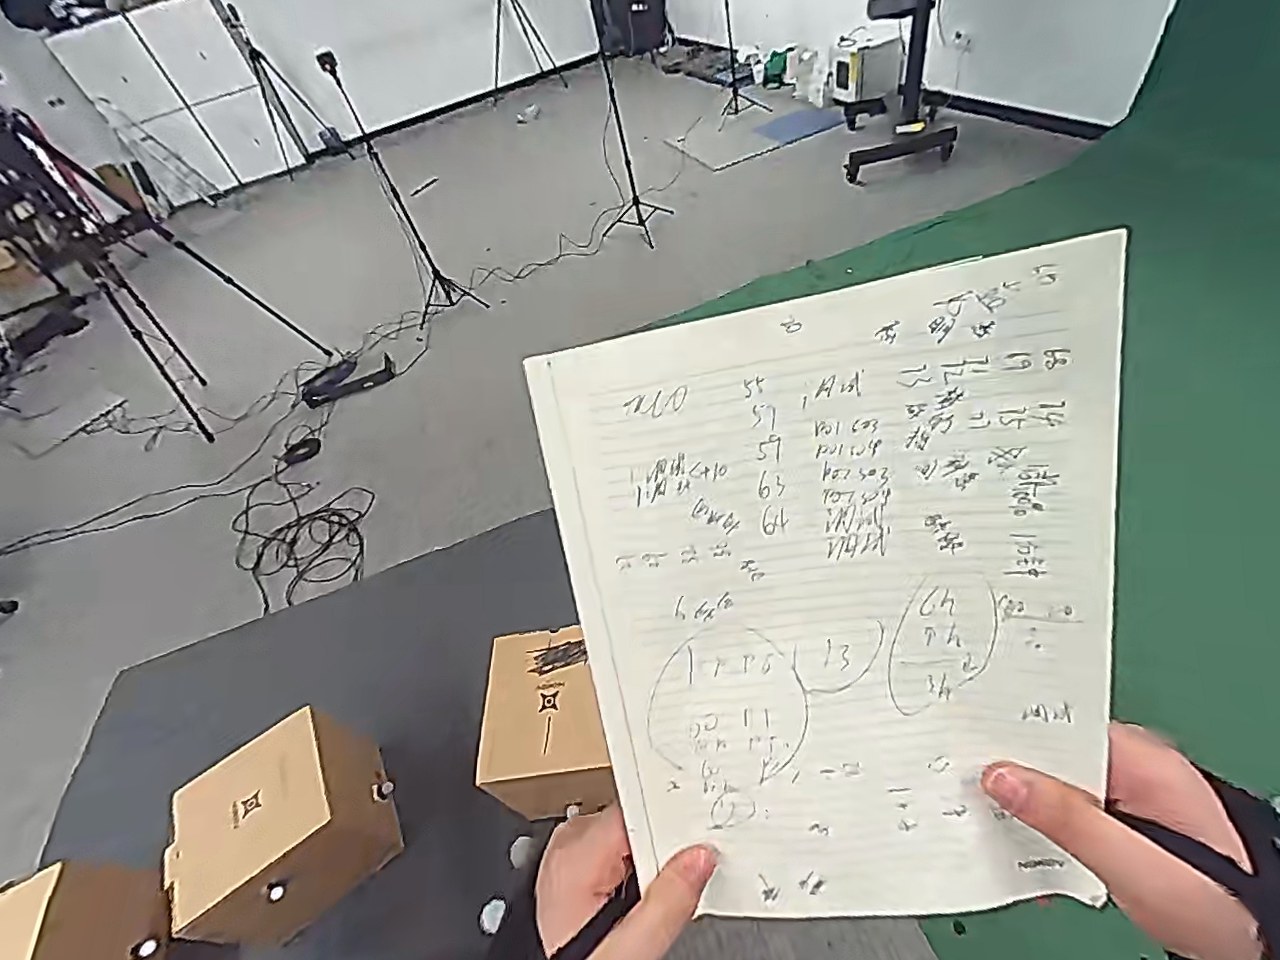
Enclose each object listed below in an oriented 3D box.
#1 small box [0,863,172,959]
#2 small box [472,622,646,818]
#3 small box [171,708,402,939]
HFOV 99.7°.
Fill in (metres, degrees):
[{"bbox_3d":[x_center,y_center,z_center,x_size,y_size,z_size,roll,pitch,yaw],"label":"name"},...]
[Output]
[{"bbox_3d":[-0.696,0.589,0.622,0.168,0.176,0.179,-25,46,-8],"label":"small box"},{"bbox_3d":[-0.092,0.311,0.696,0.168,0.176,0.179,-12,46,7],"label":"small box"},{"bbox_3d":[-0.441,0.439,0.689,0.179,0.176,0.168,-33,48,-16],"label":"small box"}]
